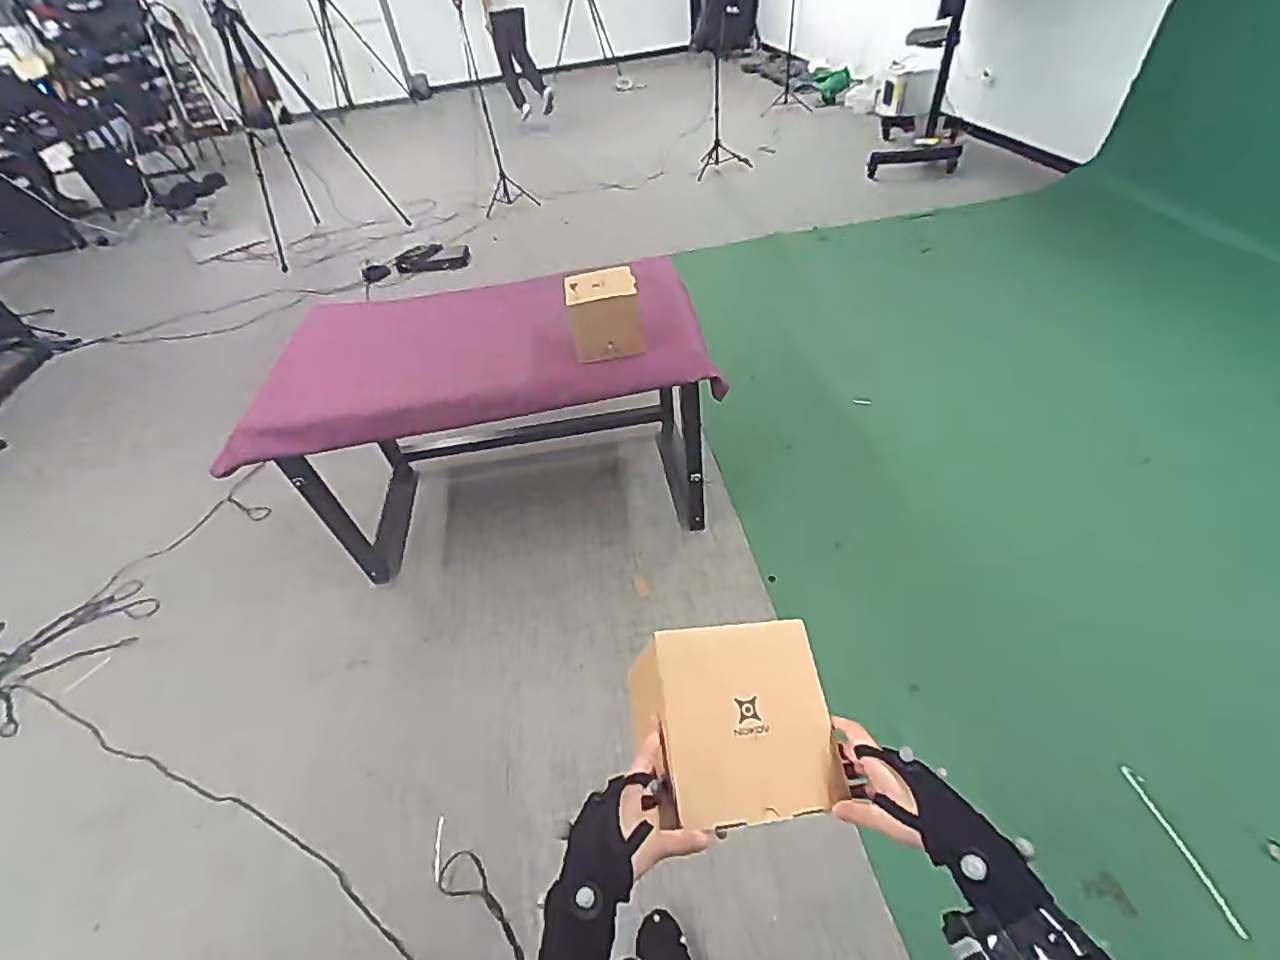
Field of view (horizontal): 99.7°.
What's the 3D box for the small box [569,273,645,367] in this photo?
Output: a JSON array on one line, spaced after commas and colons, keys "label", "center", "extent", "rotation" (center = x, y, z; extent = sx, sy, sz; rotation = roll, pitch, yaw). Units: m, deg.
[{"label": "small box", "center": [-0.085, -0.418, 1.421], "extent": [0.179, 0.176, 0.168], "rotation": [-10, 42, 0]}]
